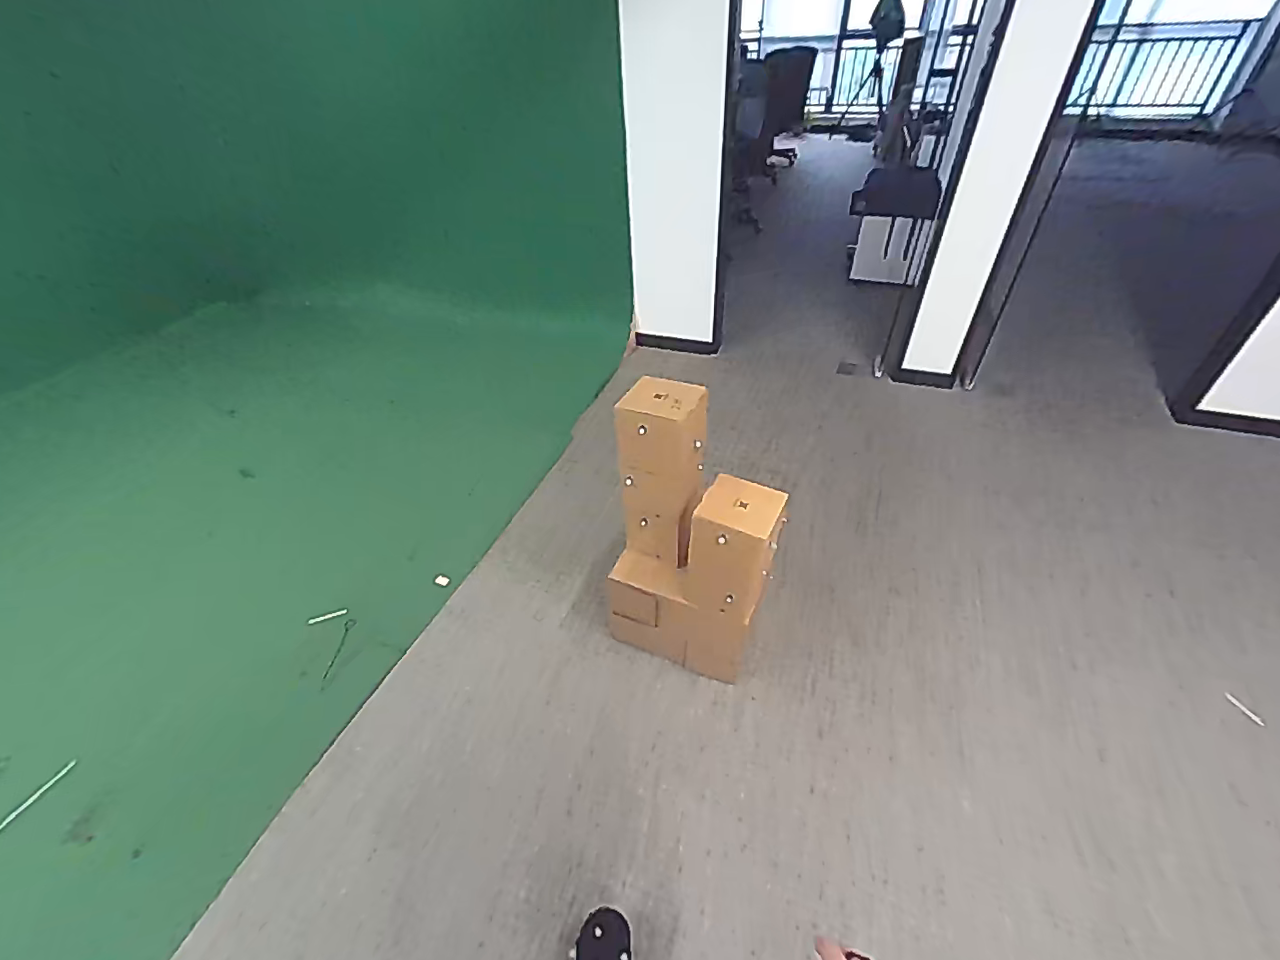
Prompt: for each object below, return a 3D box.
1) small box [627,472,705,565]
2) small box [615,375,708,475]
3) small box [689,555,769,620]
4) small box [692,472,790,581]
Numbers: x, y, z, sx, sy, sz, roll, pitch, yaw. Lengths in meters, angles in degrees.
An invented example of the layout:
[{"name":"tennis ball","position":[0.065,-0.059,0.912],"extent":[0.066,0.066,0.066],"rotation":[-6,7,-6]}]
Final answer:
[{"name":"small box","position":[0.074,0.110,1.548],"extent":[0.168,0.176,0.179],"rotation":[17,43,23]},{"name":"small box","position":[0.056,-0.135,1.327],"extent":[0.179,0.176,0.168],"rotation":[15,43,21]},{"name":"small box","position":[0.233,0.230,1.399],"extent":[0.168,0.176,0.179],"rotation":[19,44,21]},{"name":"small box","position":[0.235,0.114,1.284],"extent":[0.179,0.176,0.168],"rotation":[19,45,22]}]
